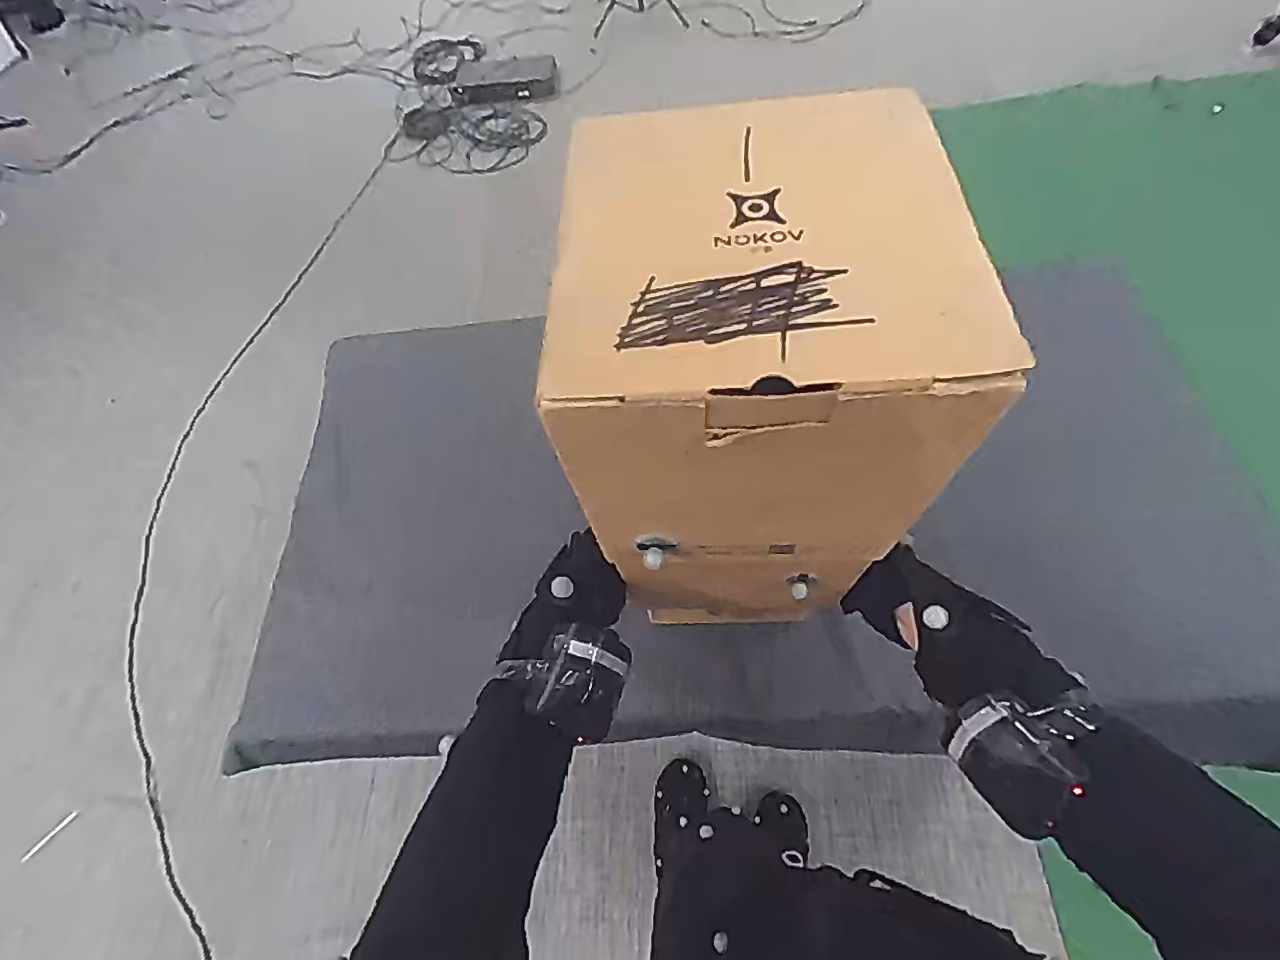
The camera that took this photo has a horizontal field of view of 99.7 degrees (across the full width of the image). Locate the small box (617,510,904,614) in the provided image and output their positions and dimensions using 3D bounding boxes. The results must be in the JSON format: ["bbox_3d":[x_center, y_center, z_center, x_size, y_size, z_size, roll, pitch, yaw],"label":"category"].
[{"bbox_3d":[0.076,0.003,0.433,0.179,0.176,0.168,-6,62,4],"label":"small box"}]

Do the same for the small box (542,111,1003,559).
[{"bbox_3d":[0.055,-0.062,0.300,0.168,0.176,0.179,-1,61,6],"label":"small box"}]
